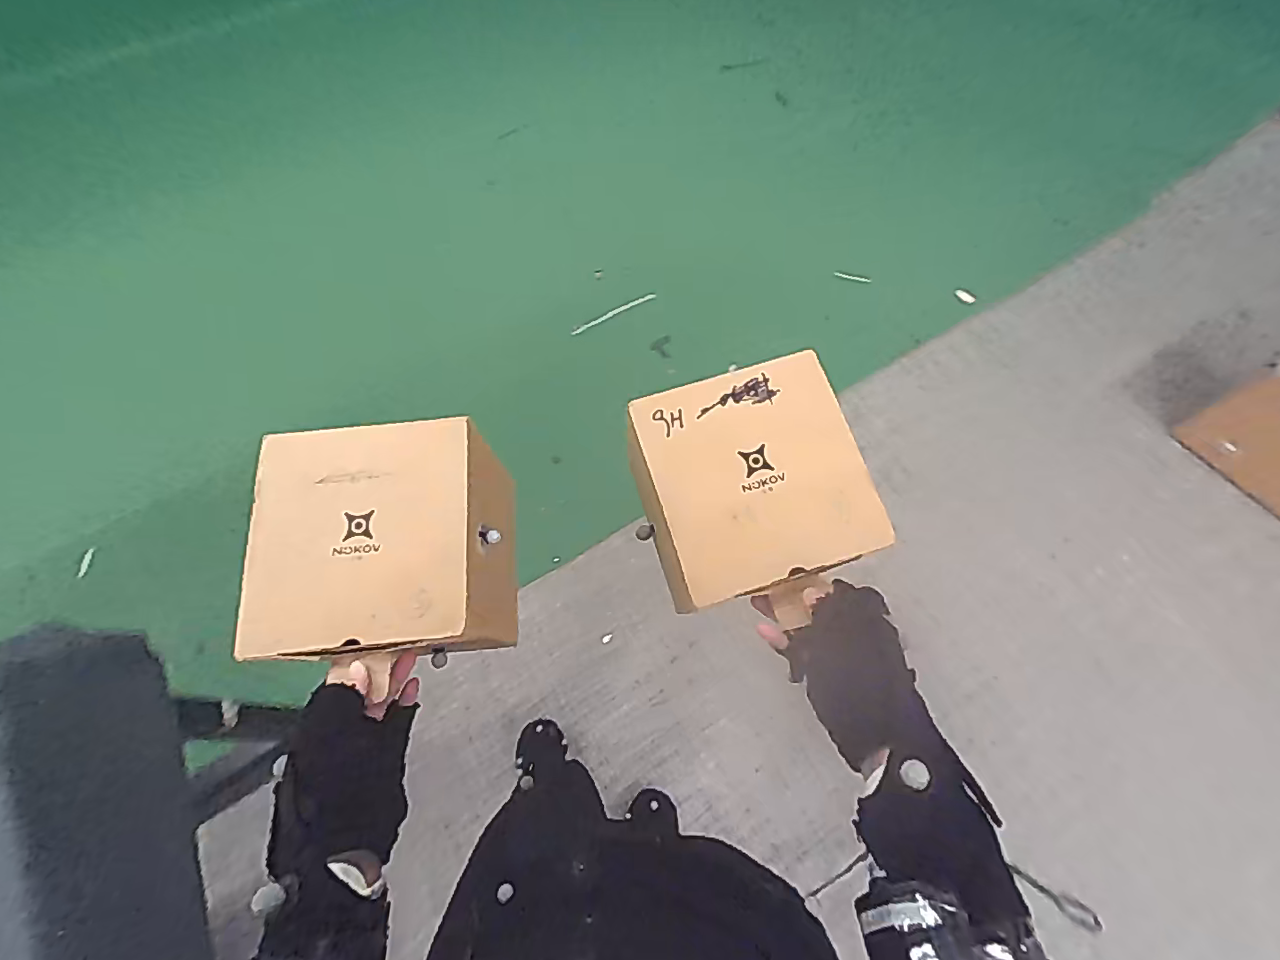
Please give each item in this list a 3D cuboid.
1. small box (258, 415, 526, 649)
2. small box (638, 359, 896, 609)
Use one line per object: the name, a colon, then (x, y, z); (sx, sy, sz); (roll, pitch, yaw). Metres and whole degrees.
small box: (-0.201, 0.059, 0.494); (0.168, 0.176, 0.179); (-4, 70, -2)
small box: (0.099, 0.015, 0.511); (0.168, 0.176, 0.179); (-15, 77, -6)
